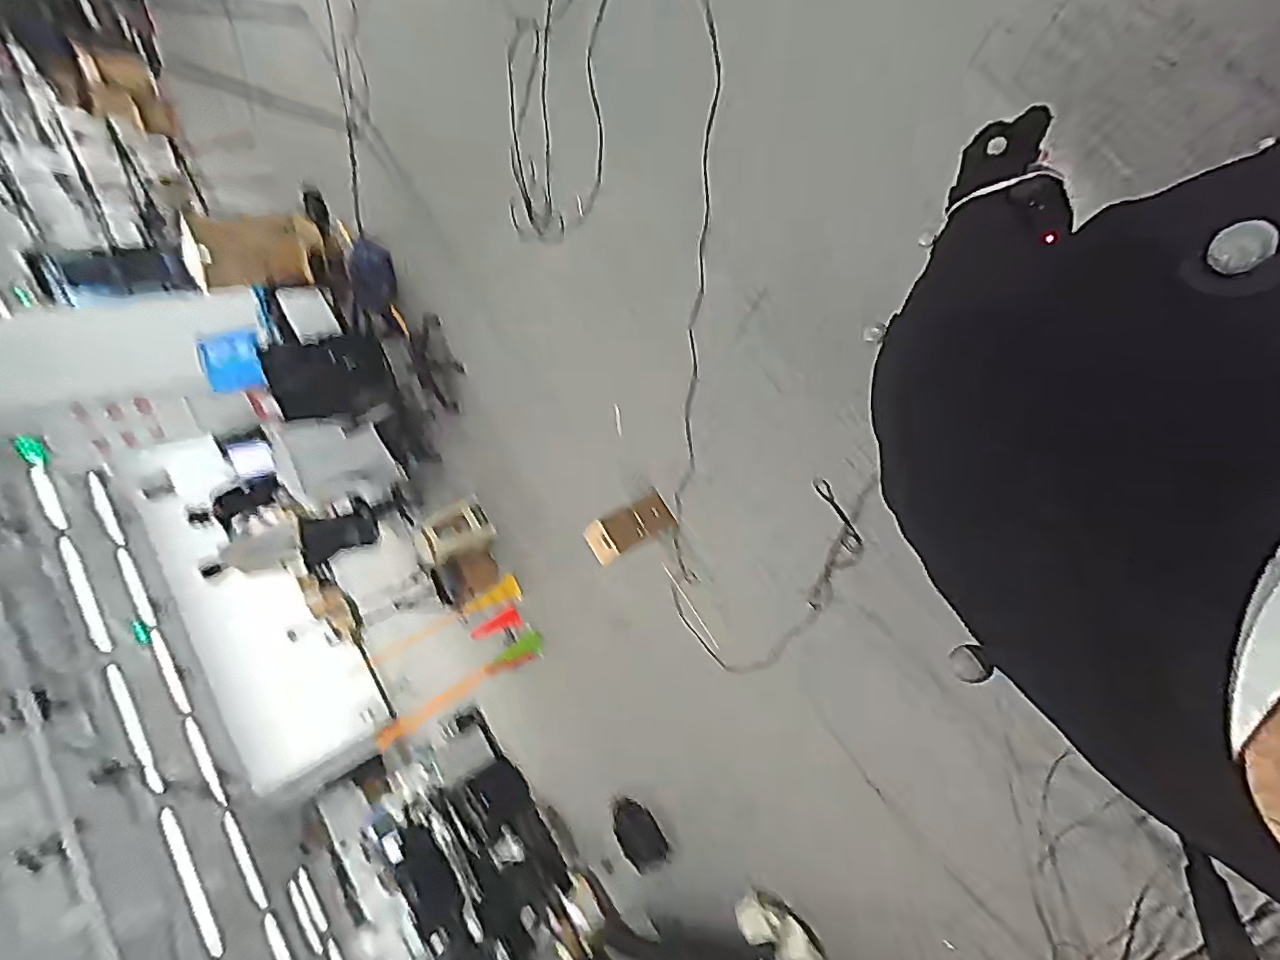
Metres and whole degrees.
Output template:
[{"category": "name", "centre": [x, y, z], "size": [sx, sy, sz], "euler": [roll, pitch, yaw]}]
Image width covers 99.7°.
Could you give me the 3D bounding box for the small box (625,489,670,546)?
[{"category": "small box", "centre": [0.009, 0.164, 2.420], "size": [0.168, 0.176, 0.179], "euler": [58, 140, 14]}]

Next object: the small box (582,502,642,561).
[{"category": "small box", "centre": [-0.116, 0.217, 2.322], "size": [0.168, 0.176, 0.179], "euler": [58, 143, 10]}]
